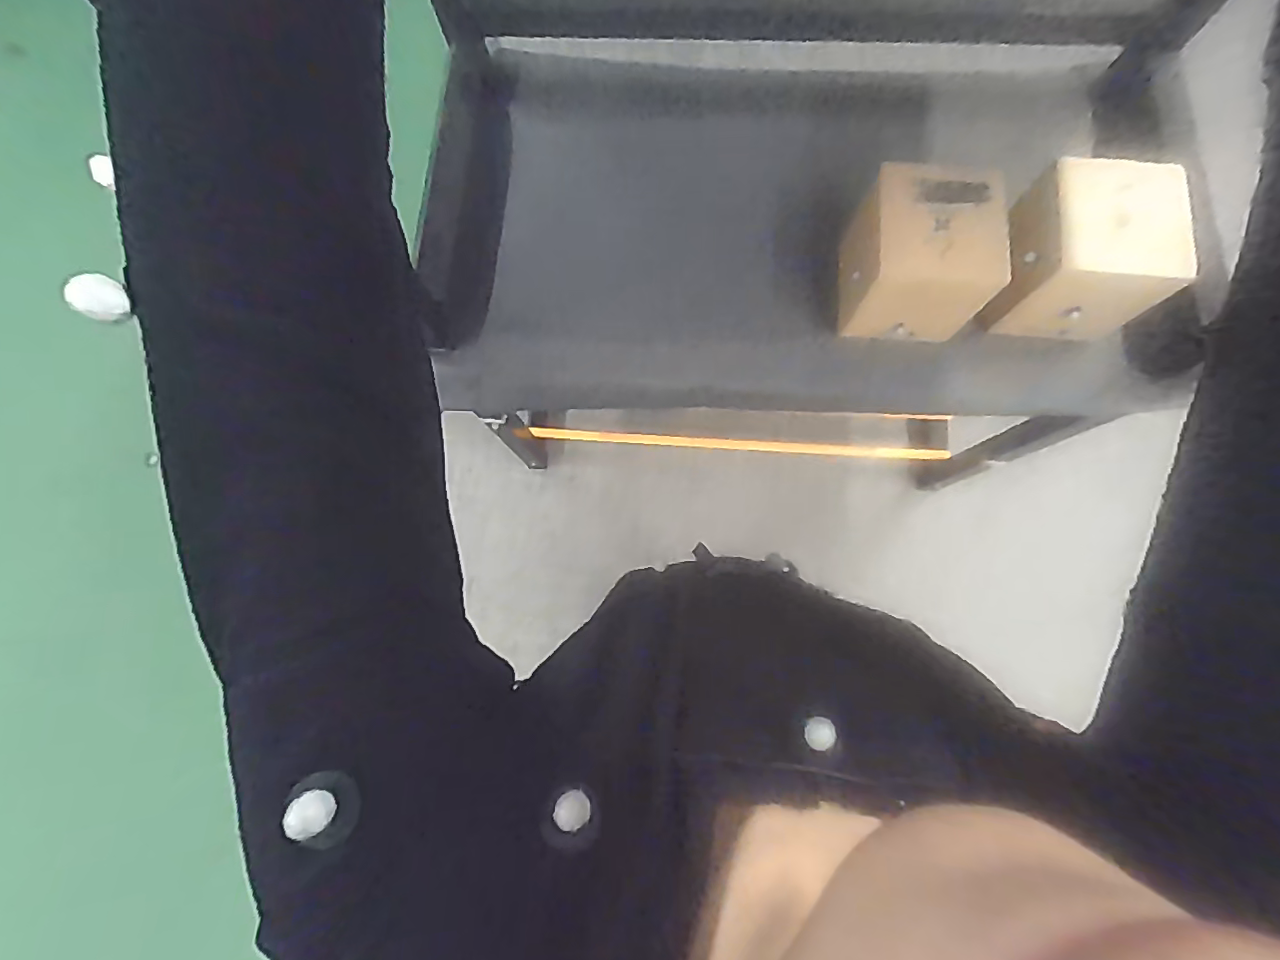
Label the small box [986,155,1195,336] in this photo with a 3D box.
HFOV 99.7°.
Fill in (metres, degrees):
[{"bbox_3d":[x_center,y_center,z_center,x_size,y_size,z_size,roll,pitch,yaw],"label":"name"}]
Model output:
[{"bbox_3d":[0.631,-0.327,0.780,0.168,0.176,0.179,6,77,4],"label":"small box"}]
